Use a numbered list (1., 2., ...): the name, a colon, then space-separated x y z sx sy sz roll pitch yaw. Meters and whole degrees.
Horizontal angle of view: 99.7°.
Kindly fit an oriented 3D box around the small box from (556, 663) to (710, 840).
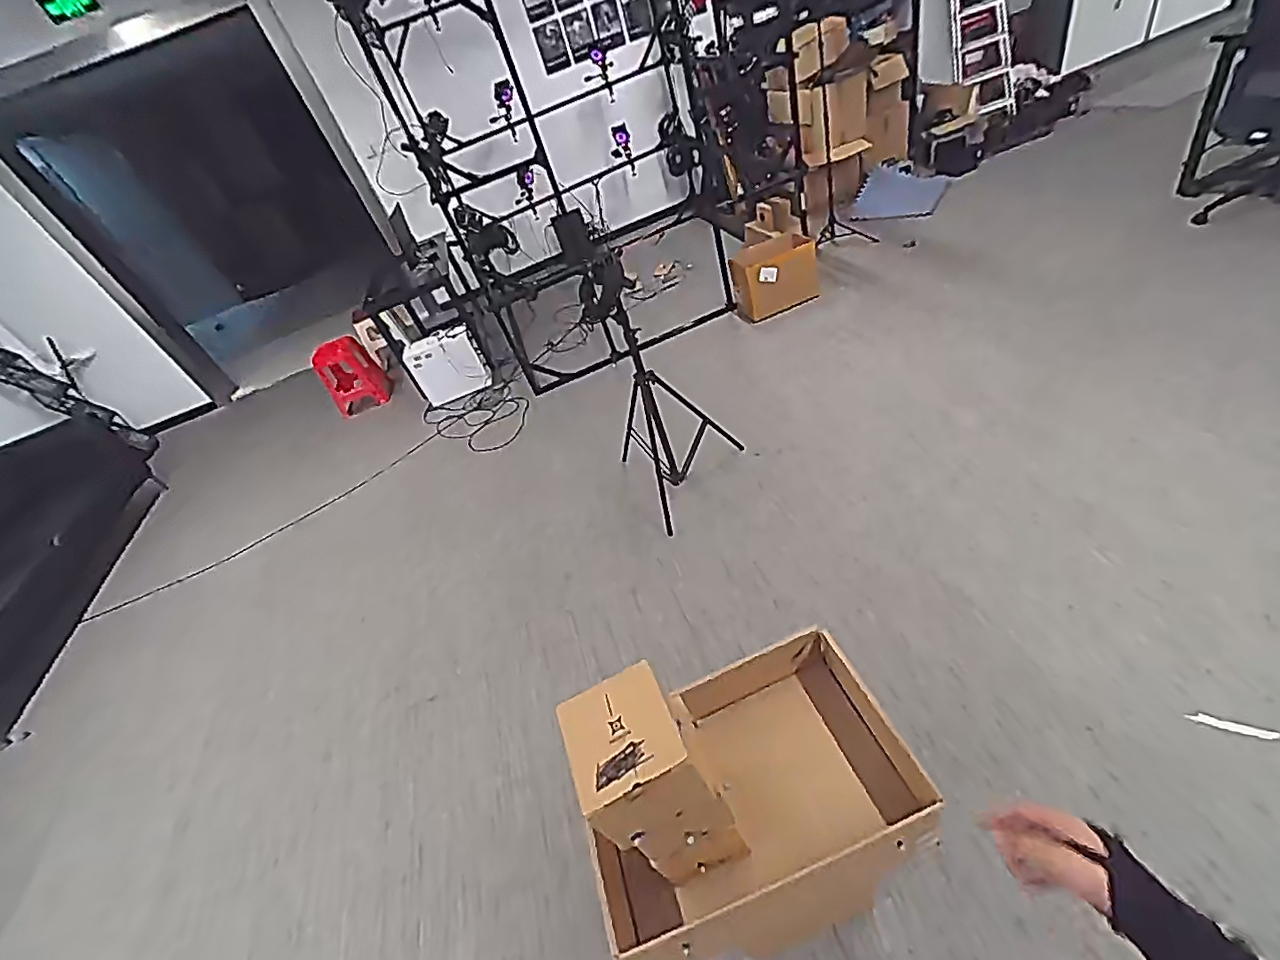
1. small box: -0.008 0.432 0.851 0.168 0.176 0.179 -27 40 -5

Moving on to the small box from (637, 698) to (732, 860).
1. small box: 0.047 0.535 0.968 0.168 0.176 0.179 -25 40 -3

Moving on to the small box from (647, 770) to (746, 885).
1. small box: 0.092 0.655 1.071 0.168 0.176 0.179 -25 40 -3
